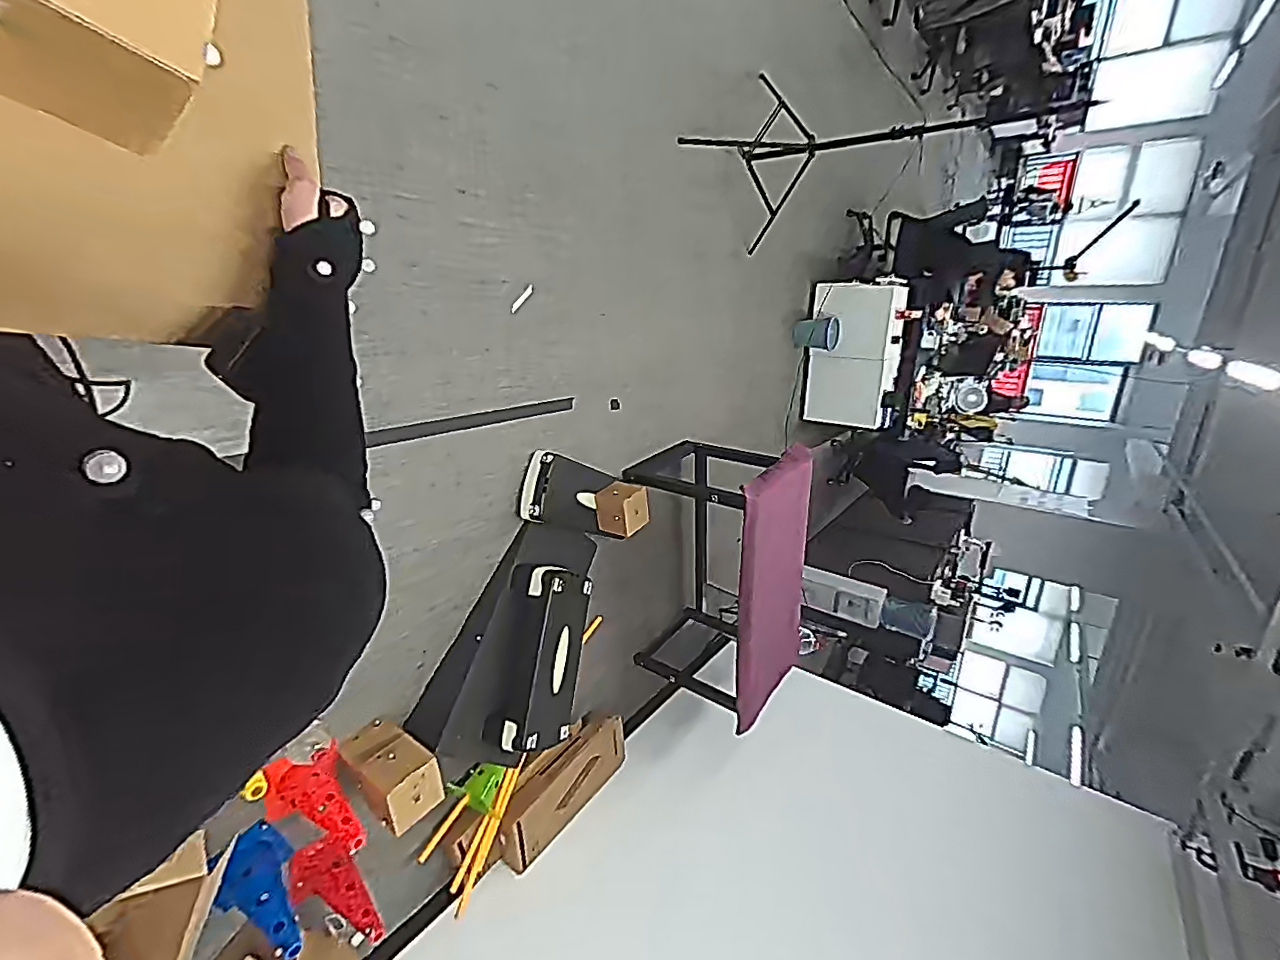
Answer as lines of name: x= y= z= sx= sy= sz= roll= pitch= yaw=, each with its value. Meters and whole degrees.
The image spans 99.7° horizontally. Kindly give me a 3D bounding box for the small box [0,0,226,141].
small box: x=-0.390 y=-0.355 z=0.348 sx=0.179 sy=0.176 sz=0.168 roll=11 pitch=88 yaw=-49
